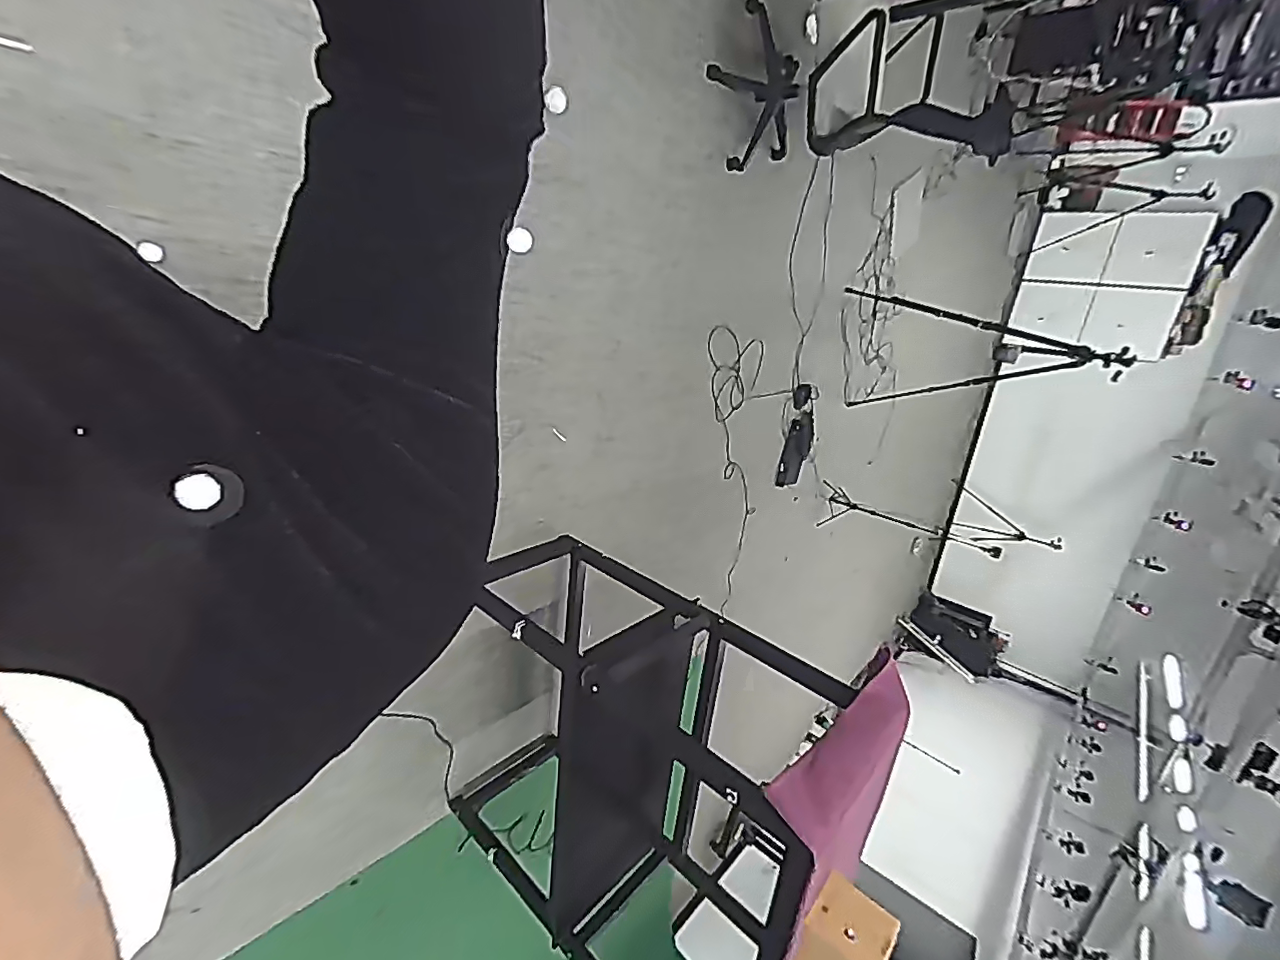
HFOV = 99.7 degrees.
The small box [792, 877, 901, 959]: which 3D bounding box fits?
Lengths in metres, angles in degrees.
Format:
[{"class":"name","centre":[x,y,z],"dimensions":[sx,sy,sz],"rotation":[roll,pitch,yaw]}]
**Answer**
[{"class":"small box","centre":[0.463,1.053,1.226],"dimensions":[0.168,0.176,0.179],"rotation":[-12,116,-48]}]
